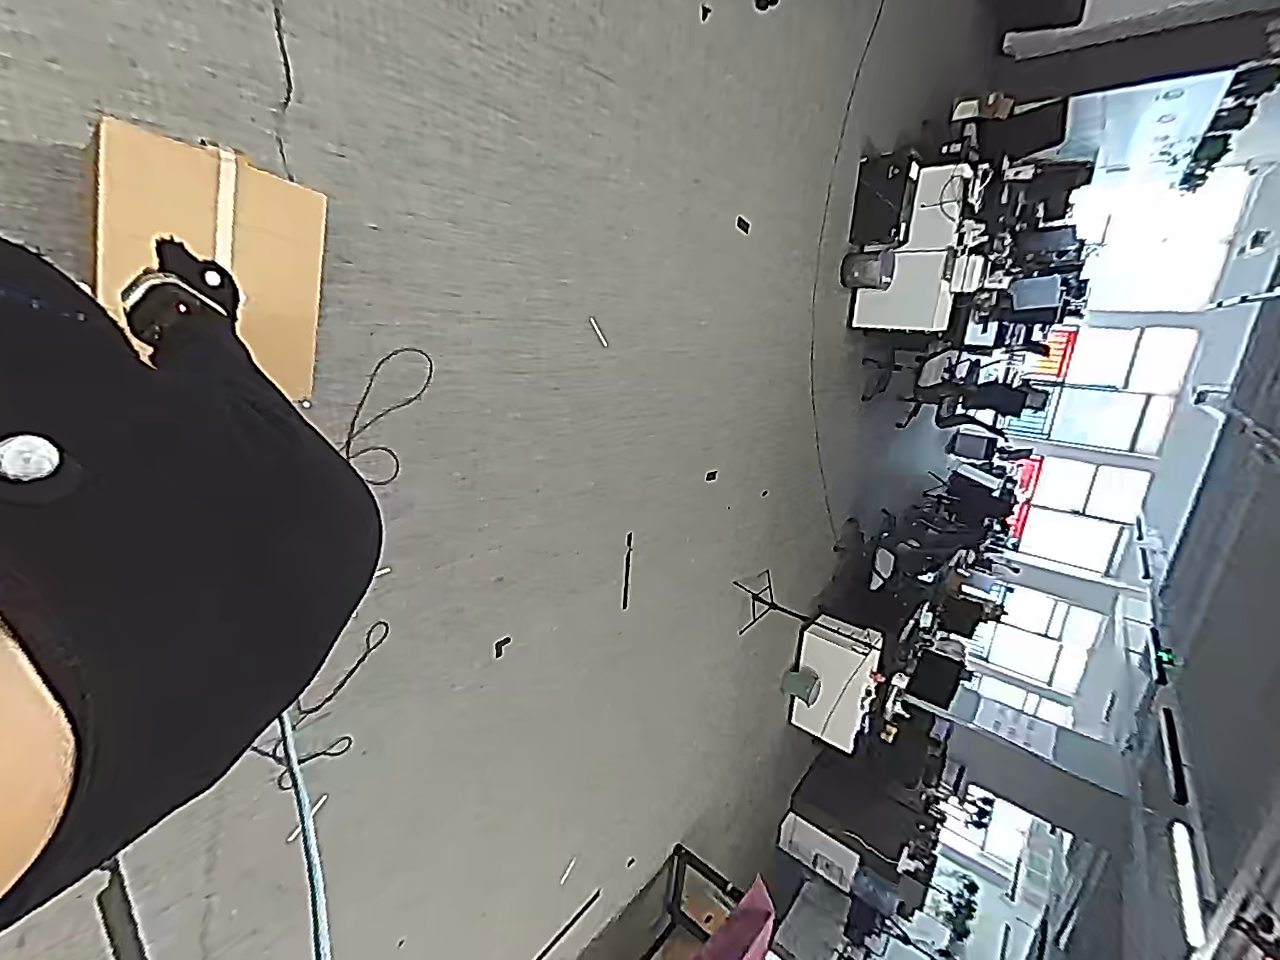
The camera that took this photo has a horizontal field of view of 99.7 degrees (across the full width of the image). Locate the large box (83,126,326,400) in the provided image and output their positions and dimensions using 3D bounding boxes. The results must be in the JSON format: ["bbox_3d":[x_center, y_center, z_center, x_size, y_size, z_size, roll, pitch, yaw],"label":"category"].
[{"bbox_3d":[-0.855,-0.392,1.062,0.320,0.320,0.408,0,105,-50],"label":"large box"}]
